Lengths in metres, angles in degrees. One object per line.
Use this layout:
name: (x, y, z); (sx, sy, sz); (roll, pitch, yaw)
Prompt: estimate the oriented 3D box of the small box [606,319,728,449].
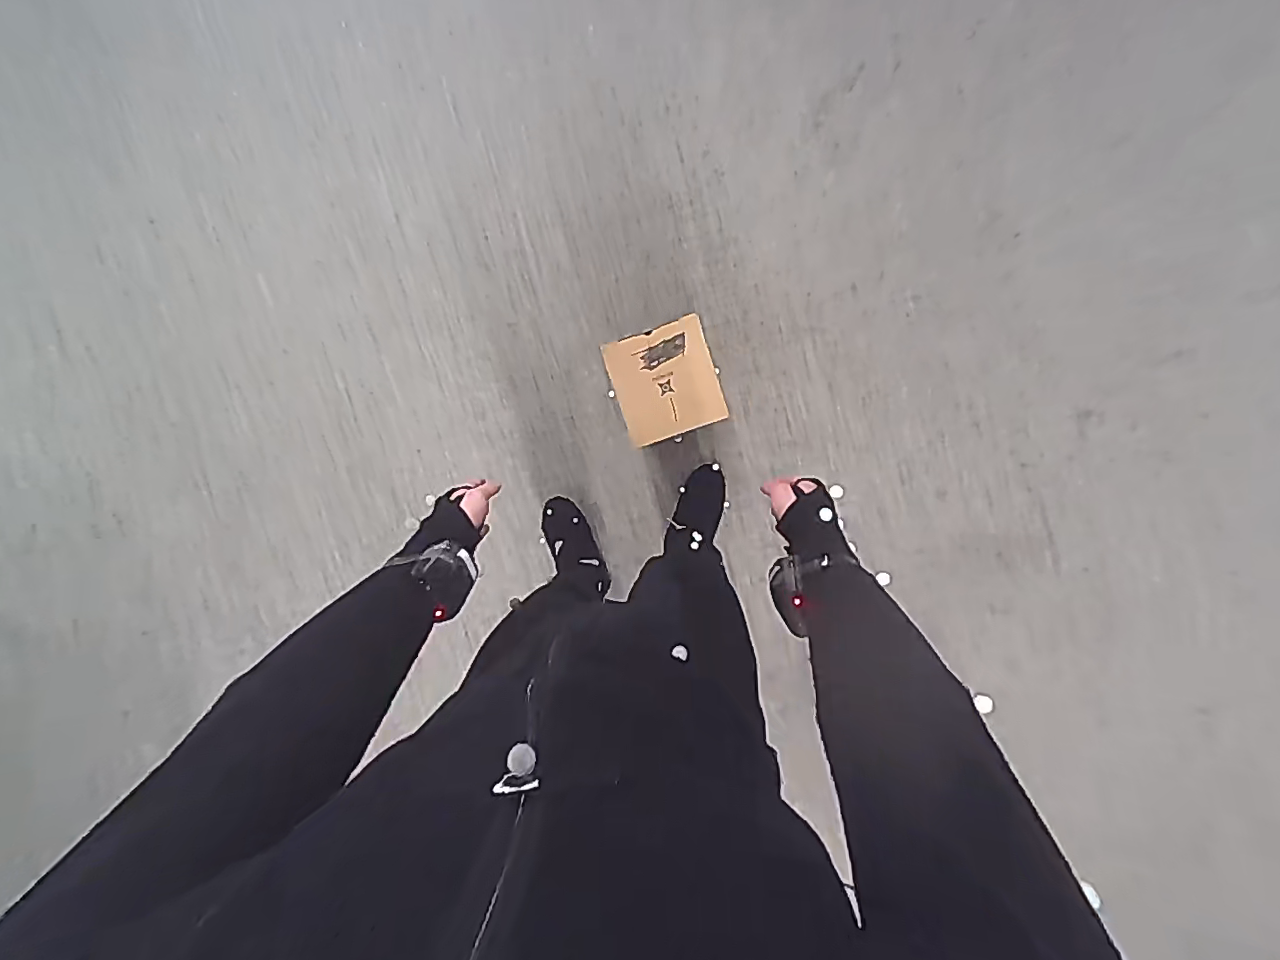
small box: (0.045, -0.159, 0.939); (0.168, 0.176, 0.179); (-15, 96, 4)
